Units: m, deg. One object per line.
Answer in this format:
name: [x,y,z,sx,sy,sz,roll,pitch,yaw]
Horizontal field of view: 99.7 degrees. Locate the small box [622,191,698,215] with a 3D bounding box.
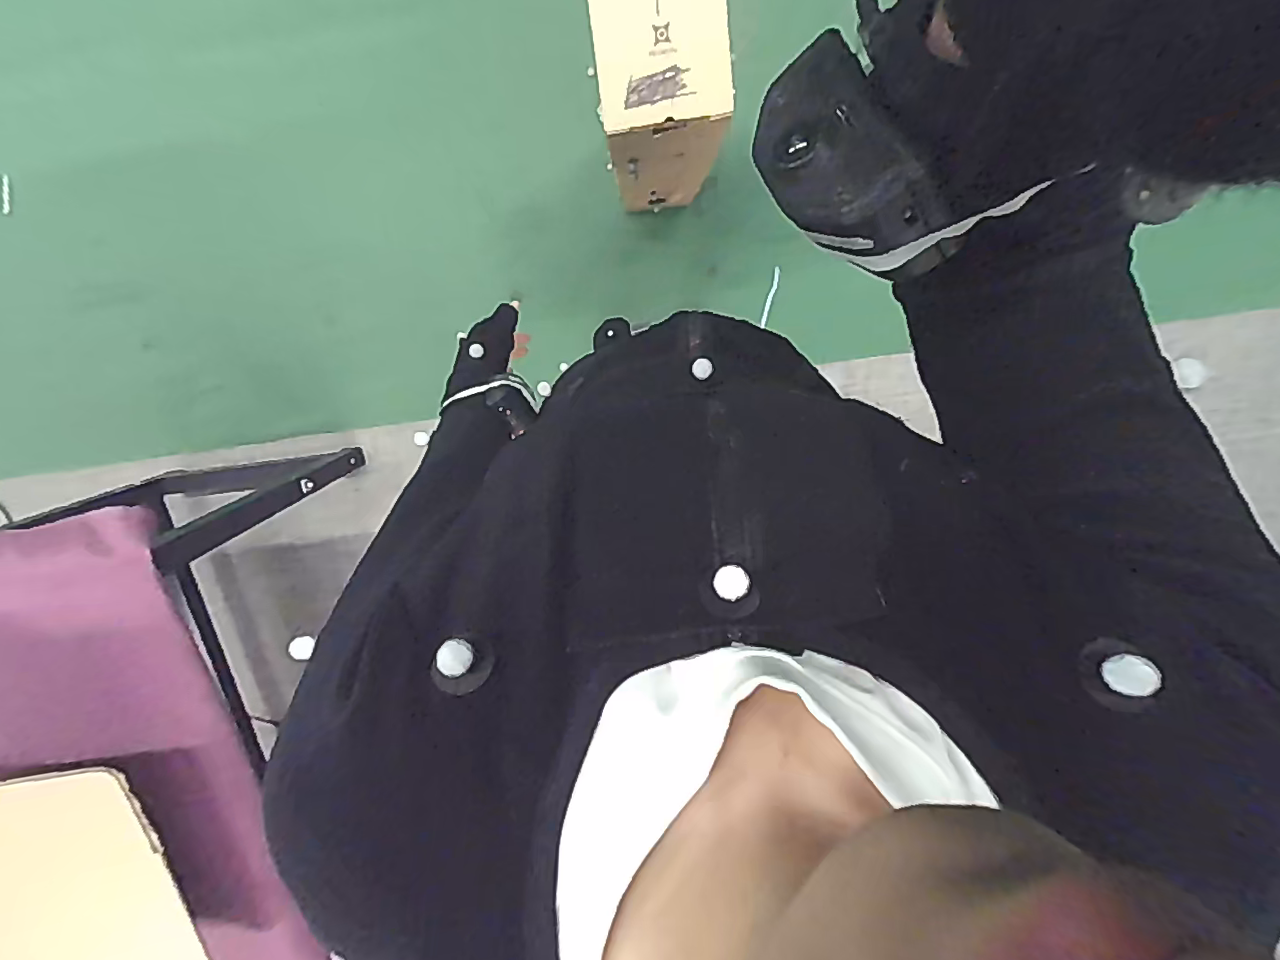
small box: [0.038,-0.708,1.203,0.168,0.176,0.179,-5,107,3]

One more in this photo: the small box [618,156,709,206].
small box: [0.036,-0.654,1.049,0.168,0.176,0.179,-8,107,3]

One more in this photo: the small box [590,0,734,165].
small box: [0.031,-0.549,0.737,0.168,0.176,0.179,-7,106,3]
